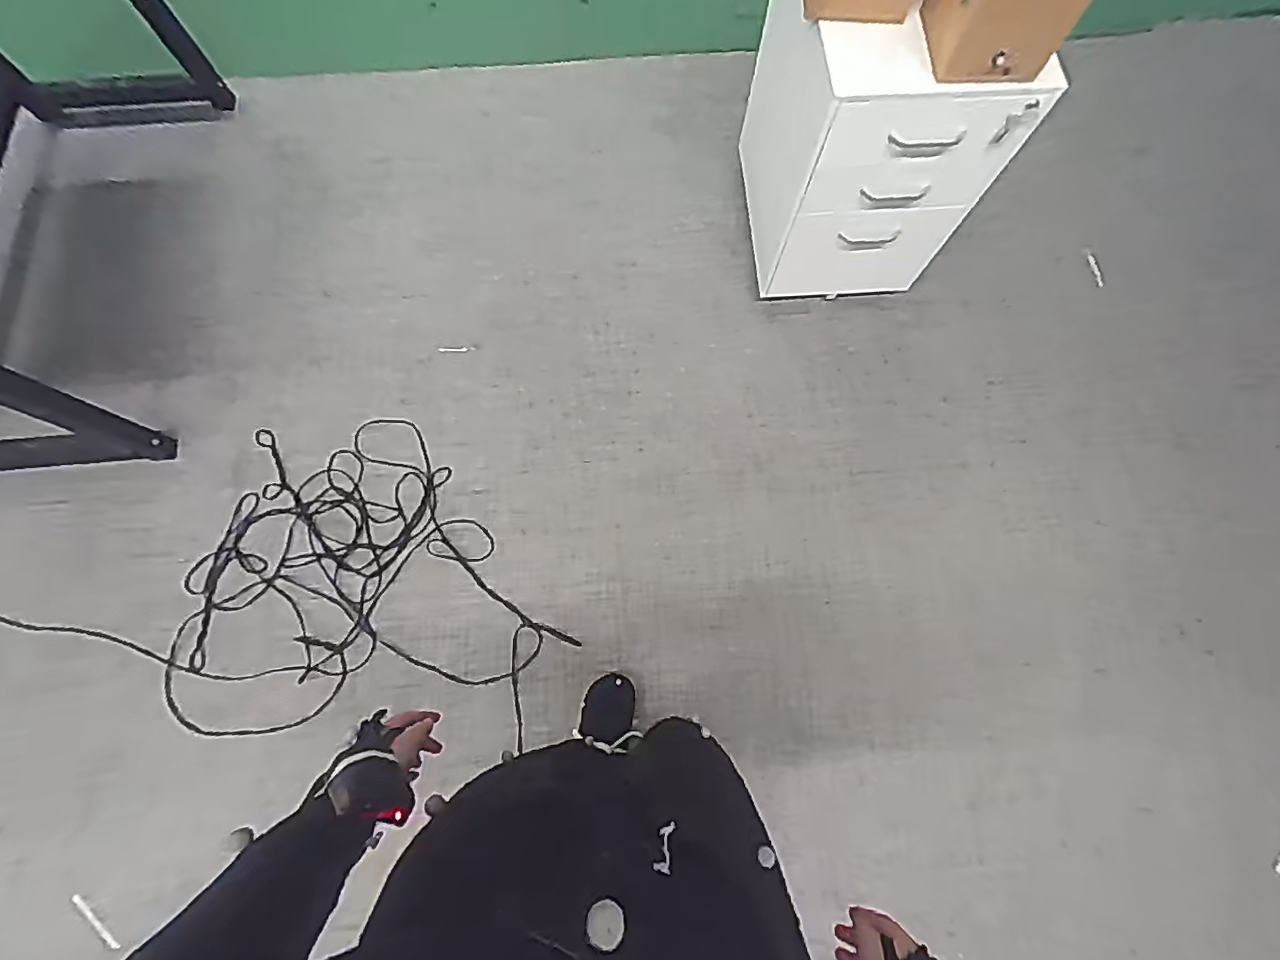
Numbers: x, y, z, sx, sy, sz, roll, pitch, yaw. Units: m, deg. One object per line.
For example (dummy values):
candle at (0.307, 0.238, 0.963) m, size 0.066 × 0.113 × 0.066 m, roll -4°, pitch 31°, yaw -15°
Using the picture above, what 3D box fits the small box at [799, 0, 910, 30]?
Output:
small box at (0.372, -0.885, 0.888) m, size 0.179 × 0.176 × 0.168 m, roll 1°, pitch 72°, yaw -1°
